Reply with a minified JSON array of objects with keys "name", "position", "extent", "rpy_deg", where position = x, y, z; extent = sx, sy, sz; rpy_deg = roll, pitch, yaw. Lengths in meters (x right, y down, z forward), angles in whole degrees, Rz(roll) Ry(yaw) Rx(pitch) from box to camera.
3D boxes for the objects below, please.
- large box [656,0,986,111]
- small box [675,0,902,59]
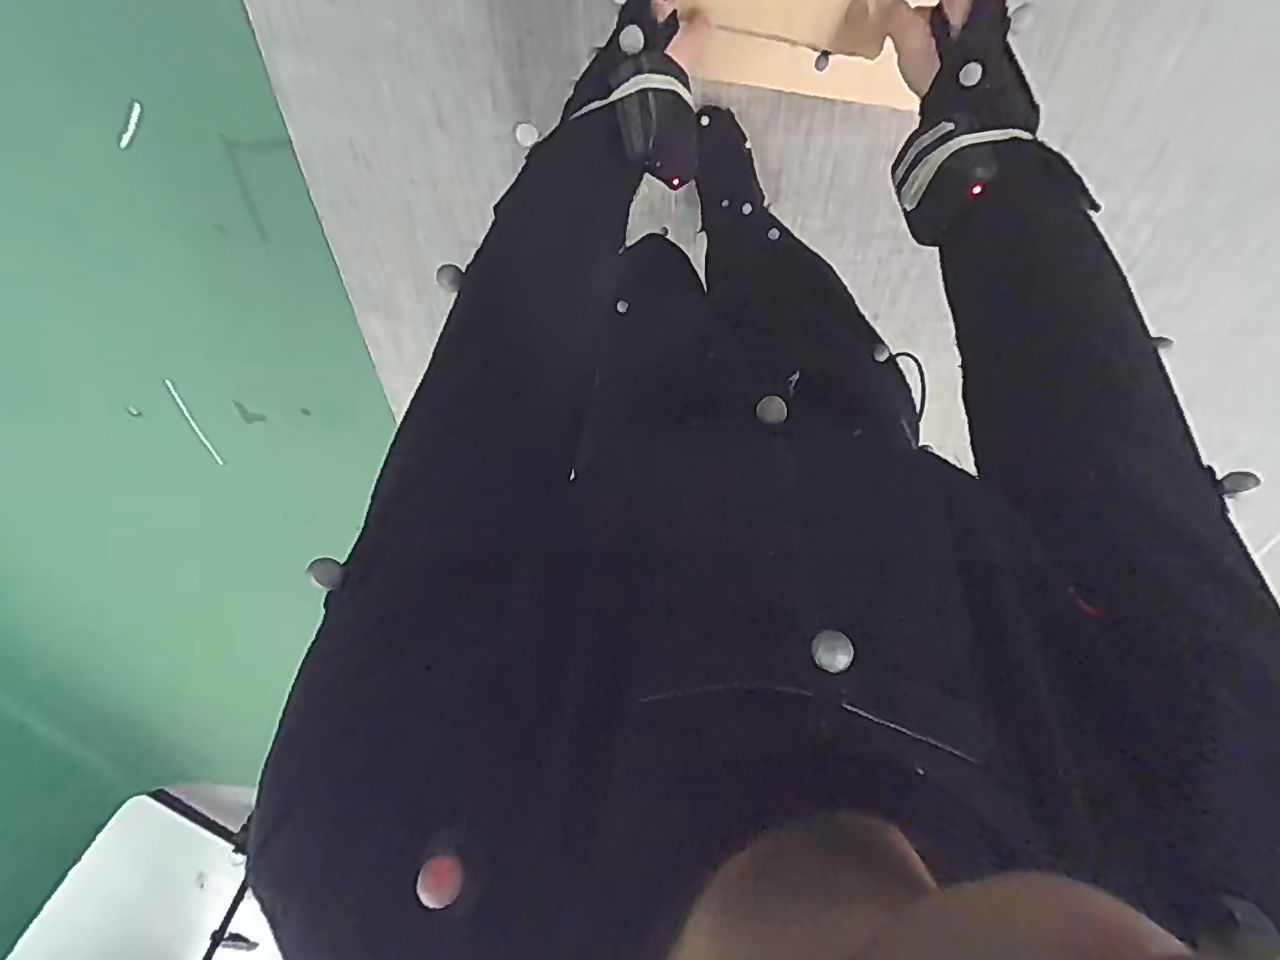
[{"name":"large box","position":[0.239,-0.733,0.744],"extent":[0.408,0.320,0.320],"rpy_deg":[7,132,-1]},{"name":"small box","position":[0.129,-0.467,0.449],"extent":[0.179,0.176,0.168],"rpy_deg":[8,129,-3]}]
